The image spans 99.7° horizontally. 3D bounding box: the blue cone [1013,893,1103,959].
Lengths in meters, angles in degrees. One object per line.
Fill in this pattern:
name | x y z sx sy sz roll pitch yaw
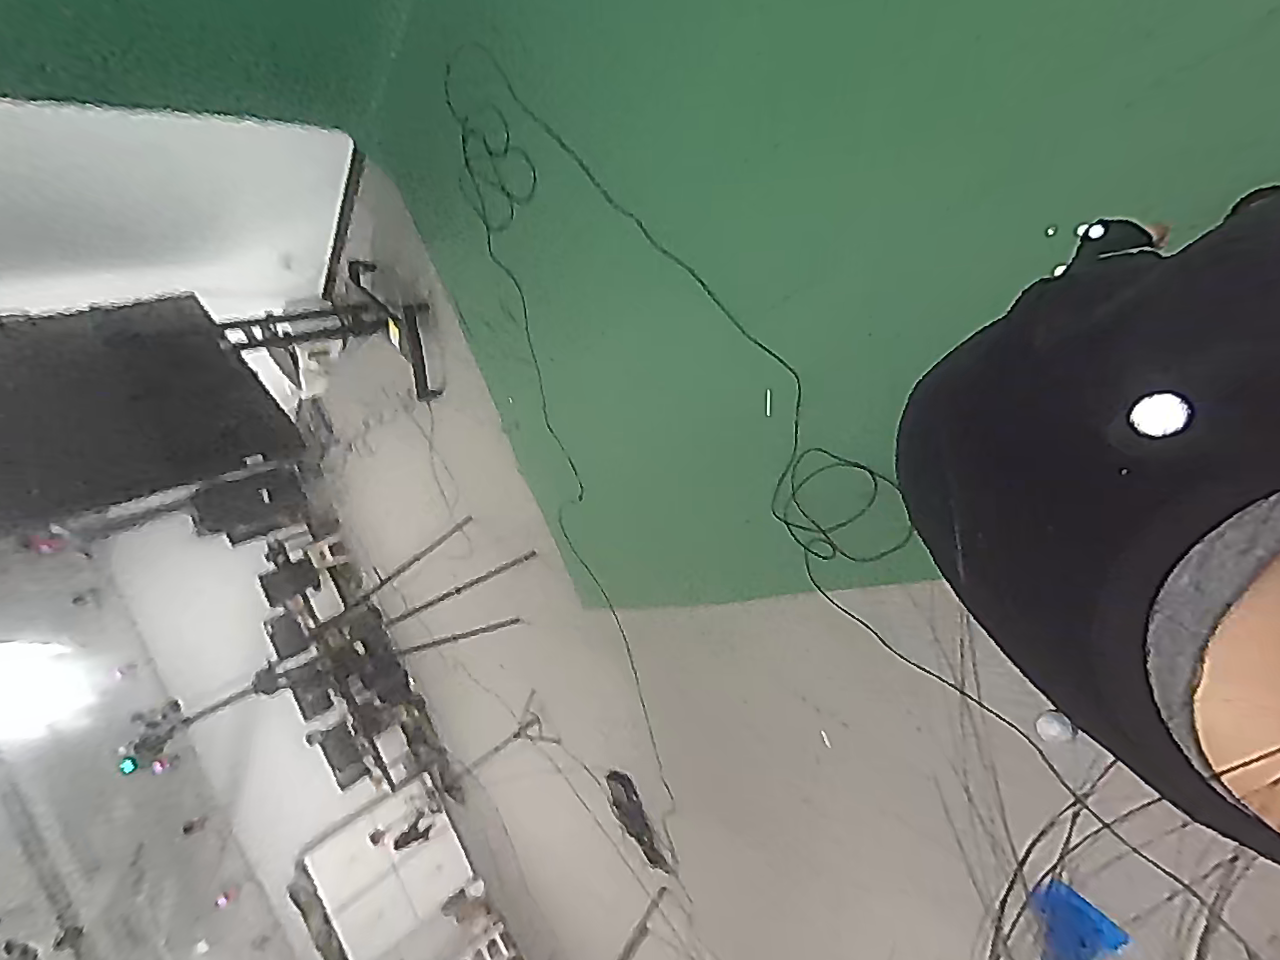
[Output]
blue cone | 1.148 1.419 1.534 0.192 0.380 0.193 34 133 31
